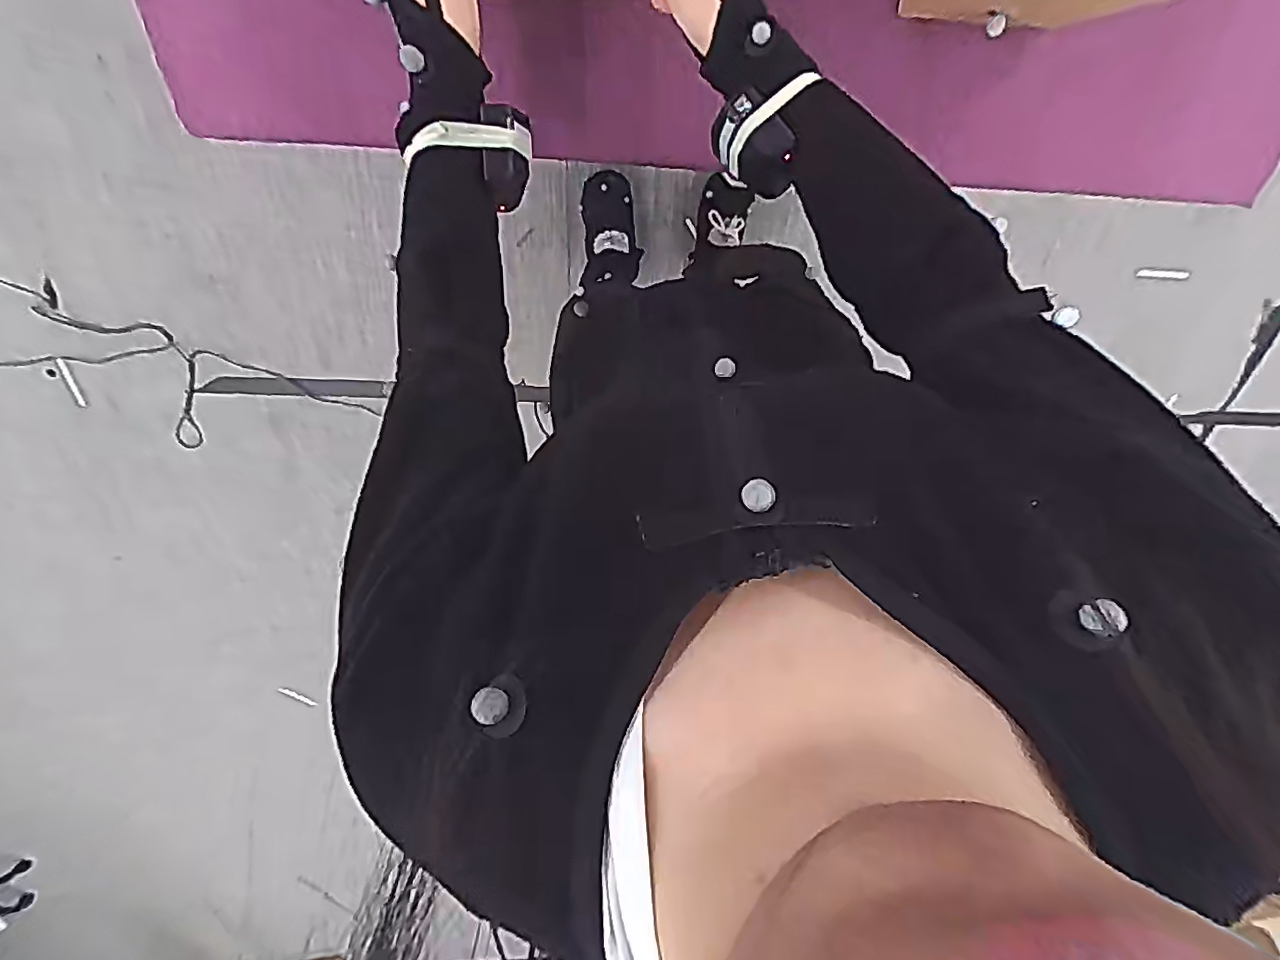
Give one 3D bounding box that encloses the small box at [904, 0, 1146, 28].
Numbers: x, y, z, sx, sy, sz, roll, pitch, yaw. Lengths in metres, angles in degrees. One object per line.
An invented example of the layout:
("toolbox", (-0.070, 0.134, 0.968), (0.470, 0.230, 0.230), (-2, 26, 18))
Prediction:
("small box", (0.341, -0.492, 0.429), (0.168, 0.176, 0.179), (0, 123, -5))
